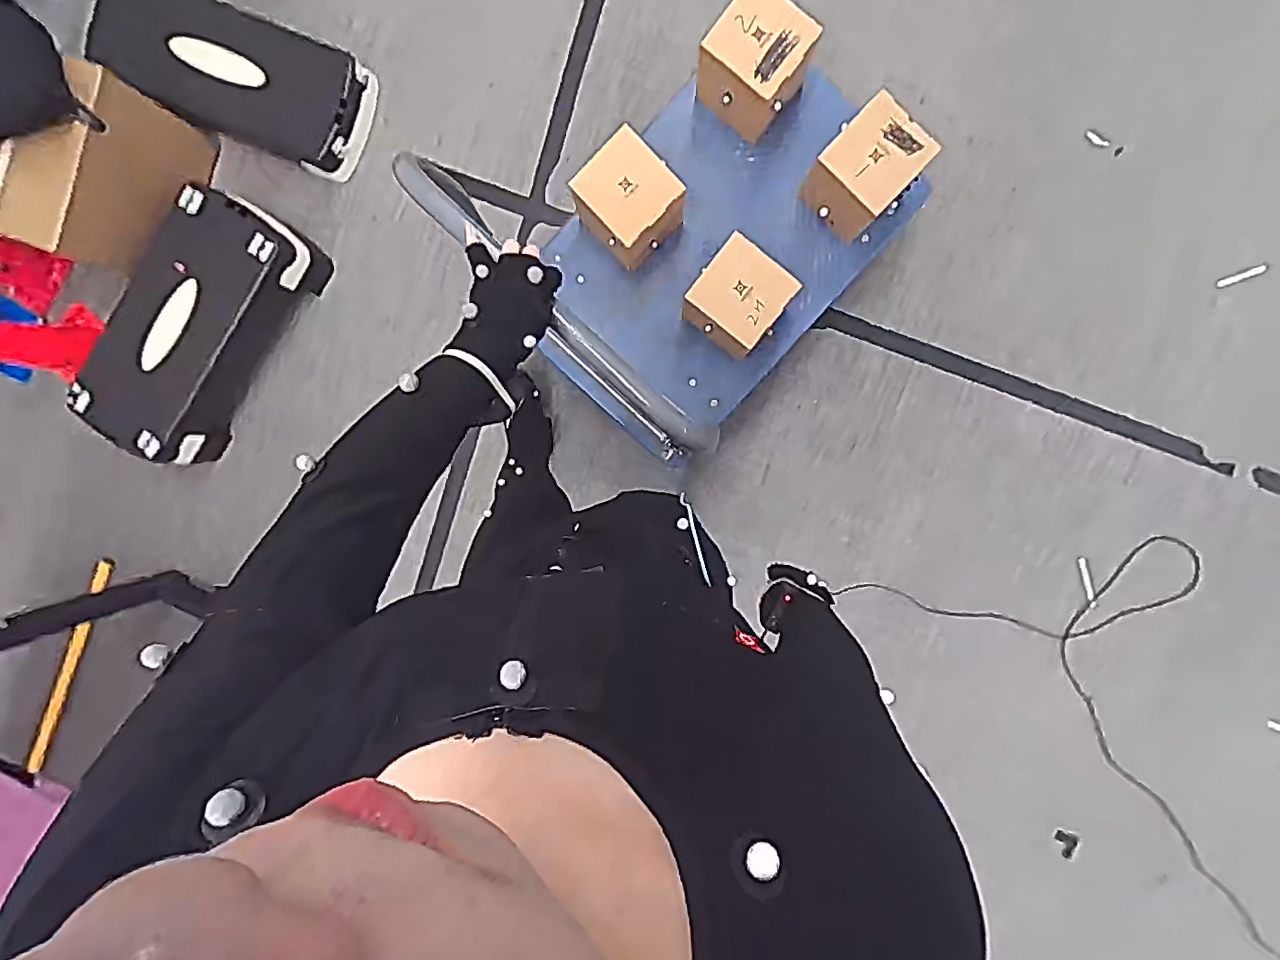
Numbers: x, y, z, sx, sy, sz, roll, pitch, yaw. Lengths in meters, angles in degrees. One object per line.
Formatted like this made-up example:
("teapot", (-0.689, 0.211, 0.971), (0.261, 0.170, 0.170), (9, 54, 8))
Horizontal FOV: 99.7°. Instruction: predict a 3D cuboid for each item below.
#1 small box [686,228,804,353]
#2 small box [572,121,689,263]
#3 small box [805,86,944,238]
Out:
("small box", (0.213, -0.391, 1.156), (0.179, 0.176, 0.168), (39, 96, -2))
("small box", (-0.018, -0.596, 1.147), (0.168, 0.176, 0.179), (-44, 94, 5))
("small box", (0.472, -0.645, 1.122), (0.168, 0.176, 0.179), (44, 97, -2))
